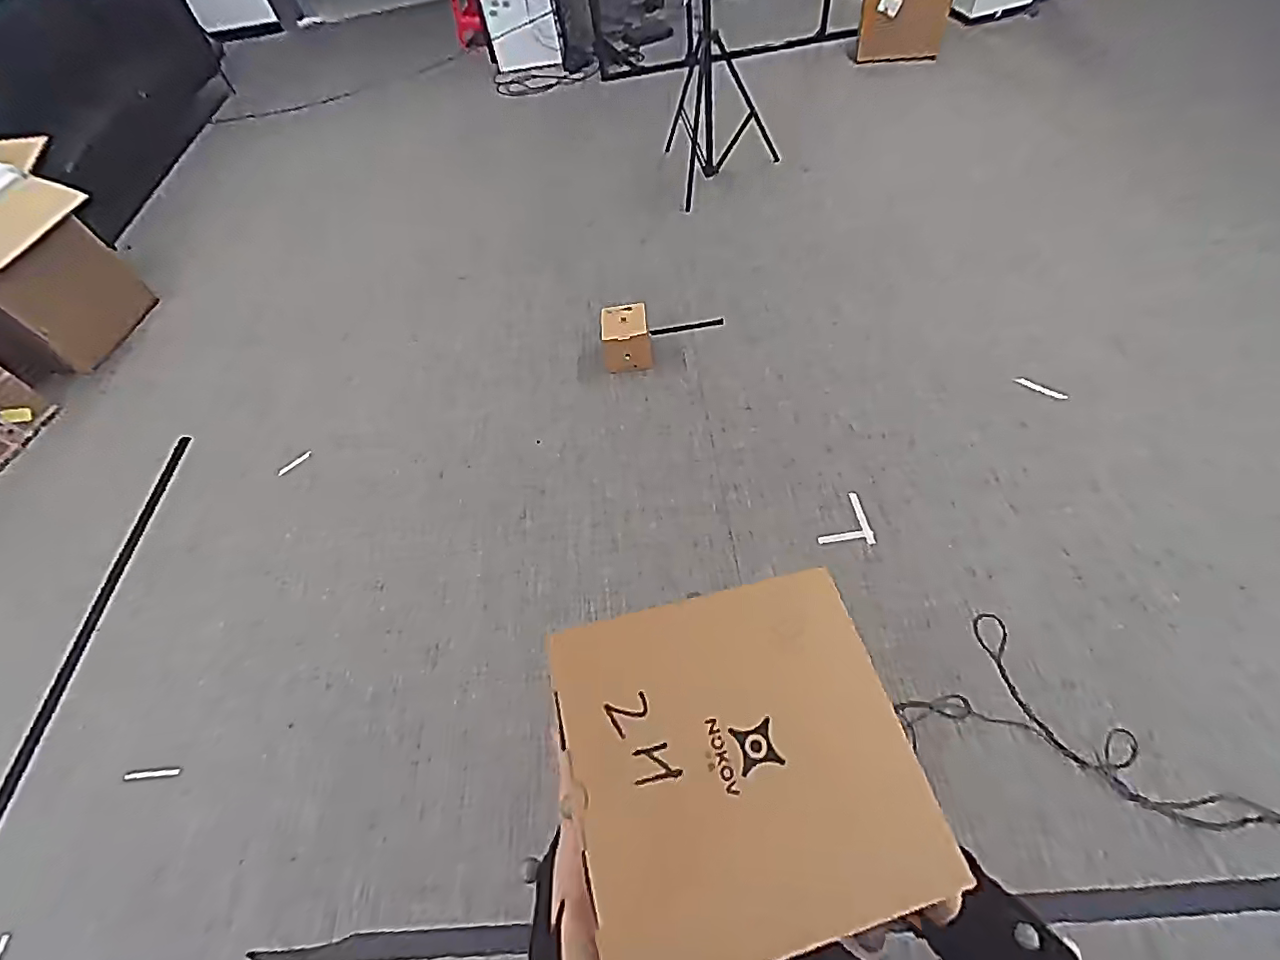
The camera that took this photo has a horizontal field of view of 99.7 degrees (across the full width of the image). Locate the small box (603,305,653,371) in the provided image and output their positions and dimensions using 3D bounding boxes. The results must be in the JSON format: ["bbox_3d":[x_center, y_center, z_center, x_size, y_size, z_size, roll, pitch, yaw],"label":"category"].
[{"bbox_3d":[-0.044,-0.524,2.029,0.168,0.176,0.179,-6,57,5],"label":"small box"}]

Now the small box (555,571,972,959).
[{"bbox_3d":[0.051,0.180,0.346,0.179,0.176,0.168,-12,59,-9],"label":"small box"}]
